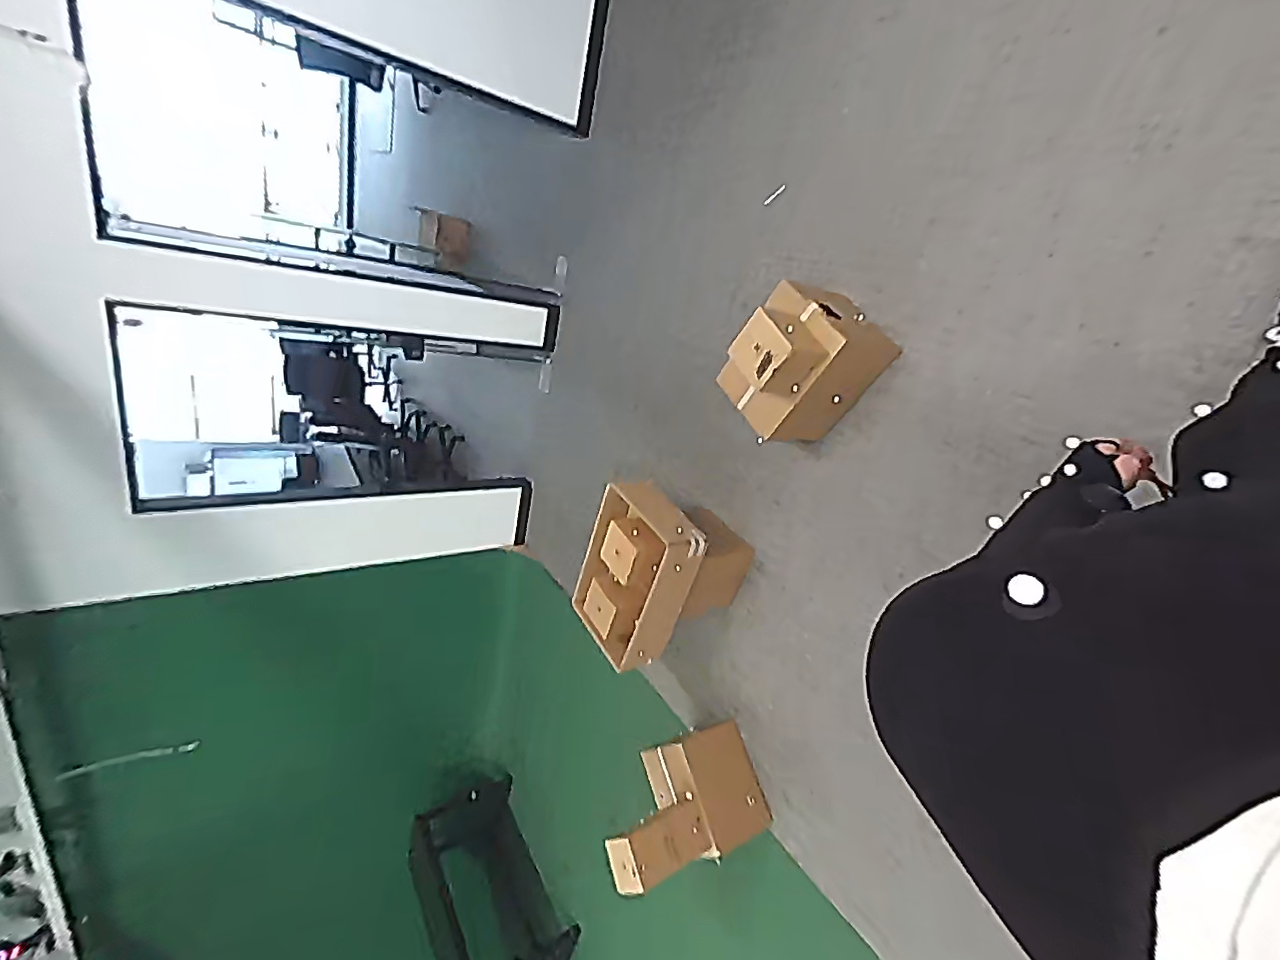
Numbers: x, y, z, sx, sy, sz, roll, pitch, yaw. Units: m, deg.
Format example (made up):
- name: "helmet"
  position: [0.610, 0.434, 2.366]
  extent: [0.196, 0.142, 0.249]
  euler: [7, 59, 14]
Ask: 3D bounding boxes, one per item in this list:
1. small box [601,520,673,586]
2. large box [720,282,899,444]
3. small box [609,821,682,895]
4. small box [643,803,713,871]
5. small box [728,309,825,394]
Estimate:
- name: "small box"
  position: [-0.010, 0.260, 1.967]
  extent: [0.179, 0.176, 0.168]
  euler: [44, 126, 40]
- name: "large box"
  position: [0.542, -0.371, 1.769]
  extent: [0.320, 0.320, 0.408]
  euler: [60, 136, 31]
- name: "small box"
  position: [0.019, 1.342, 1.925]
  extent: [0.179, 0.176, 0.168]
  euler: [-46, 58, 44]
- name: "small box"
  position: [0.143, 1.340, 2.033]
  extent: [0.179, 0.176, 0.168]
  euler: [-44, 59, 43]
- name: "small box"
  position: [0.395, -0.365, 1.556]
  extent: [0.168, 0.176, 0.179]
  euler: [-54, 54, 40]
